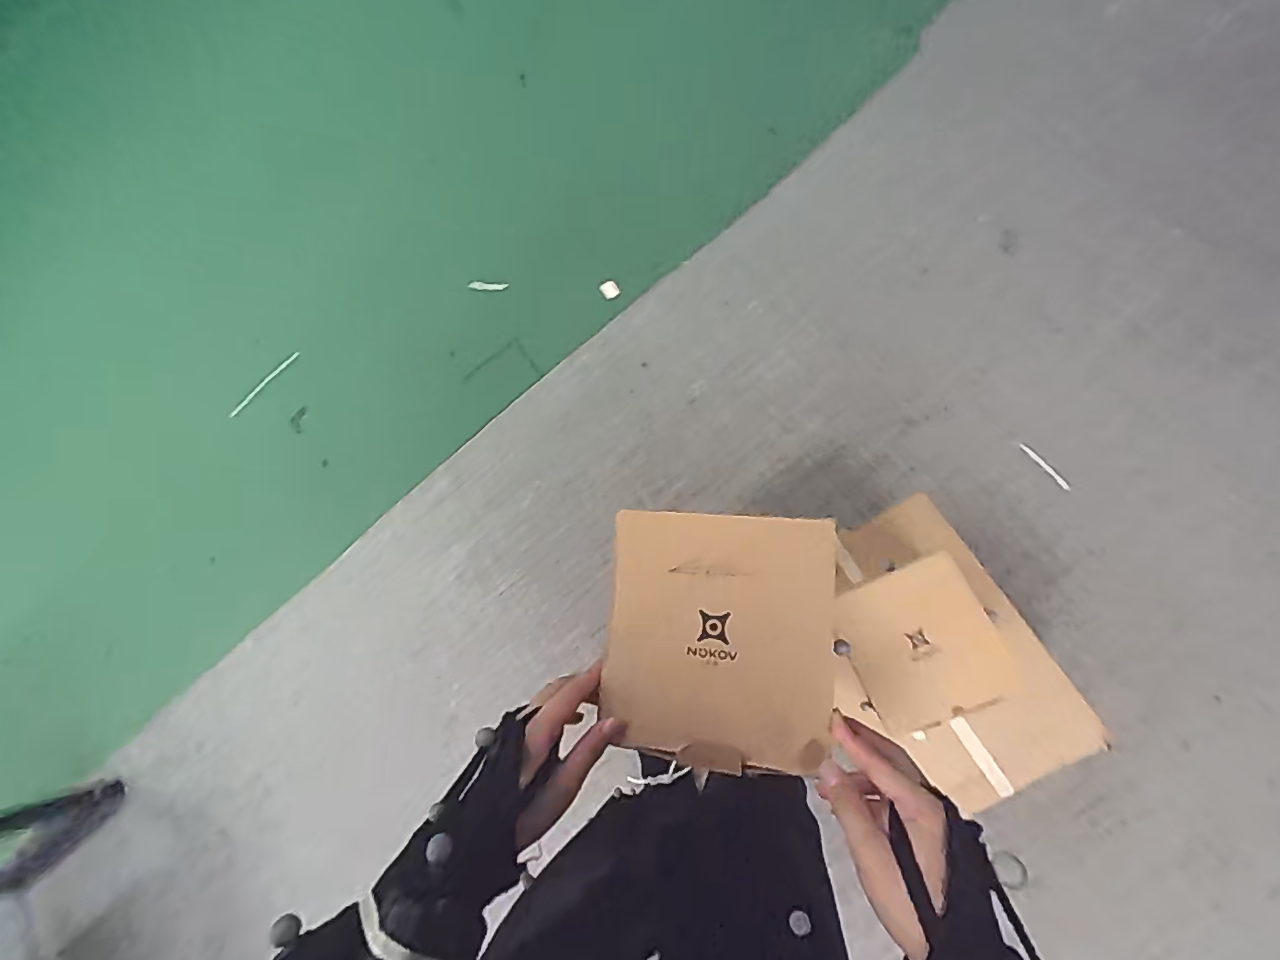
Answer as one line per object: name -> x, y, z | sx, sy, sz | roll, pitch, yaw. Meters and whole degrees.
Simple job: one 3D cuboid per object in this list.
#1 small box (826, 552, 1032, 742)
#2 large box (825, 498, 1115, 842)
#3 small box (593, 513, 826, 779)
small box -> 0.358, 0.212, 0.718 | 0.168, 0.176, 0.179 | -28, 74, 10
large box -> 0.449, 0.290, 0.934 | 0.320, 0.320, 0.408 | -34, 73, 10
small box -> 0.067, 0.128, 0.465 | 0.168, 0.176, 0.179 | 0, 77, 13
